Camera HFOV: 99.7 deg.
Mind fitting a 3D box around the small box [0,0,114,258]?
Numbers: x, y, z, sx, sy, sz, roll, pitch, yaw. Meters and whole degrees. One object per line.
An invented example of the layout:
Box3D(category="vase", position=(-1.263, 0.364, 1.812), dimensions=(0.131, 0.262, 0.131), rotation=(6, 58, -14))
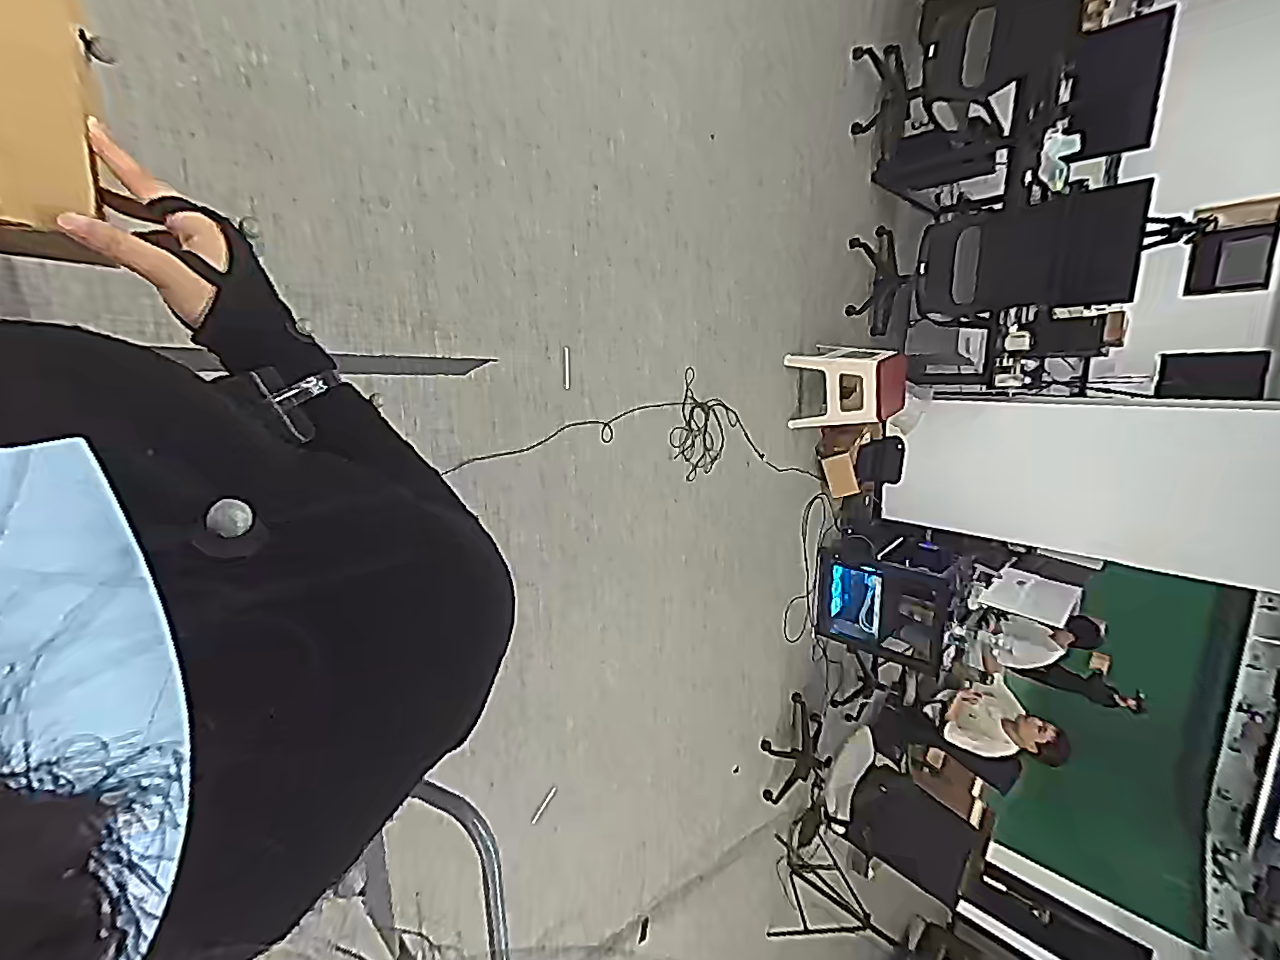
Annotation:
Box3D(category="small box", position=(-0.457, -0.255, 0.339), dimensions=(0.168, 0.176, 0.179), rotation=(-5, 104, -40))
